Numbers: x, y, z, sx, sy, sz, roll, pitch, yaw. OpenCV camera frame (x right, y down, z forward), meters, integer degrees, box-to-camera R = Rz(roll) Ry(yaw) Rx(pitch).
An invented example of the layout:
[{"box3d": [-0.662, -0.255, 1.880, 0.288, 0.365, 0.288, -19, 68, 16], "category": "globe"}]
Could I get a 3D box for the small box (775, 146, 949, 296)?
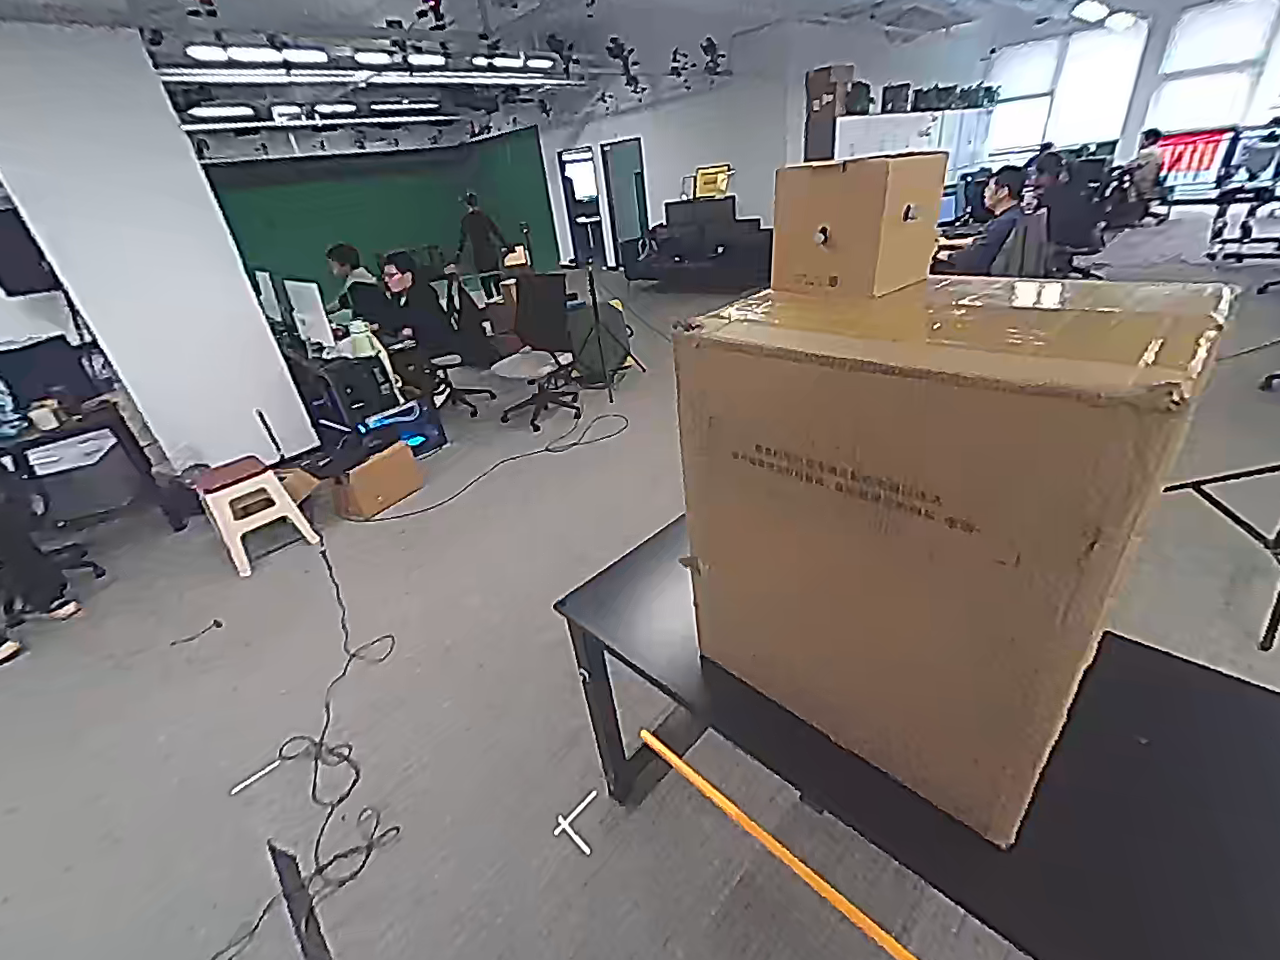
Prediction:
[{"box3d": [0.312, -0.368, 0.777, 0.179, 0.176, 0.168, -28, 36, -34], "category": "small box"}]
